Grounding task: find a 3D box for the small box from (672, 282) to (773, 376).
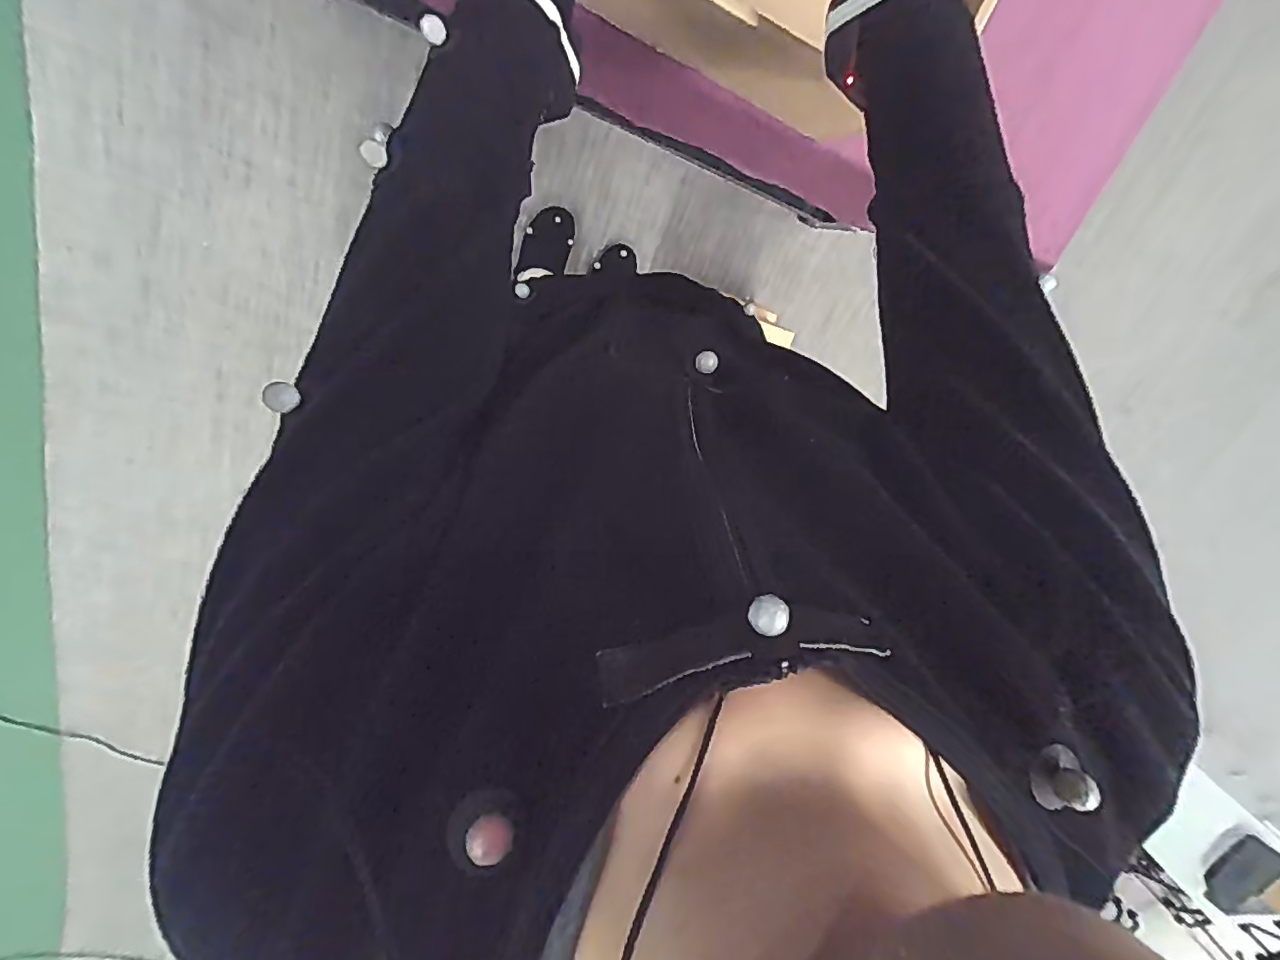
[{"bbox_3d":[0.199,-0.385,1.360,0.179,0.176,0.168,16,113,-16],"label":"small box"}]
